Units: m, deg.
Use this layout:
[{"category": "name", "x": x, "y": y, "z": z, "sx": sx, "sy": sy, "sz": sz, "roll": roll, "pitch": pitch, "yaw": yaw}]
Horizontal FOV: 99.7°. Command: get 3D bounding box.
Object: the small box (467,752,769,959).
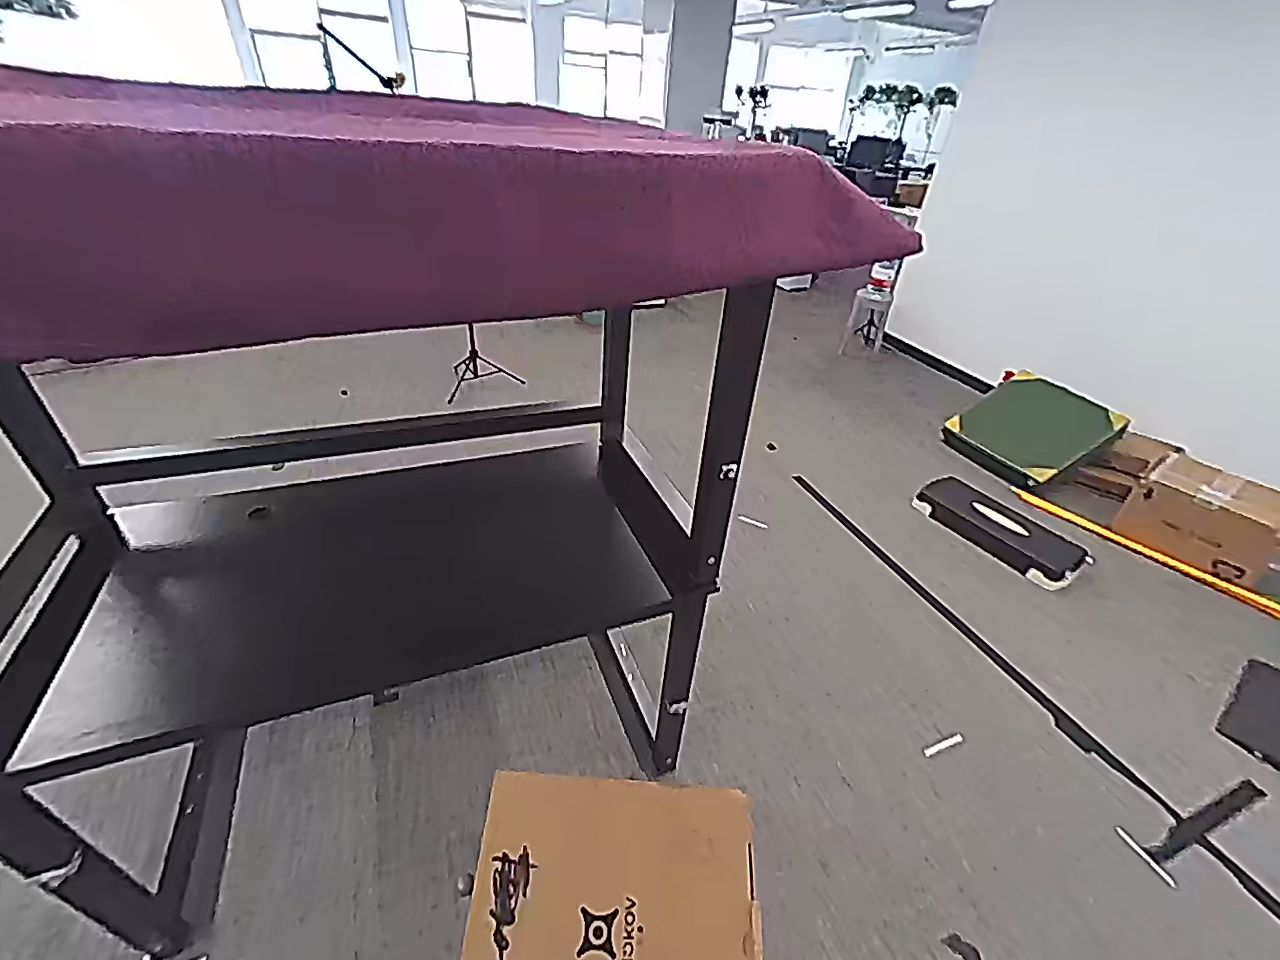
[{"category": "small box", "x": -0.019, "y": 0.300, "z": 0.383, "sx": 0.179, "sy": 0.176, "sz": 0.168, "roll": 7, "pitch": 56, "yaw": -3}]
